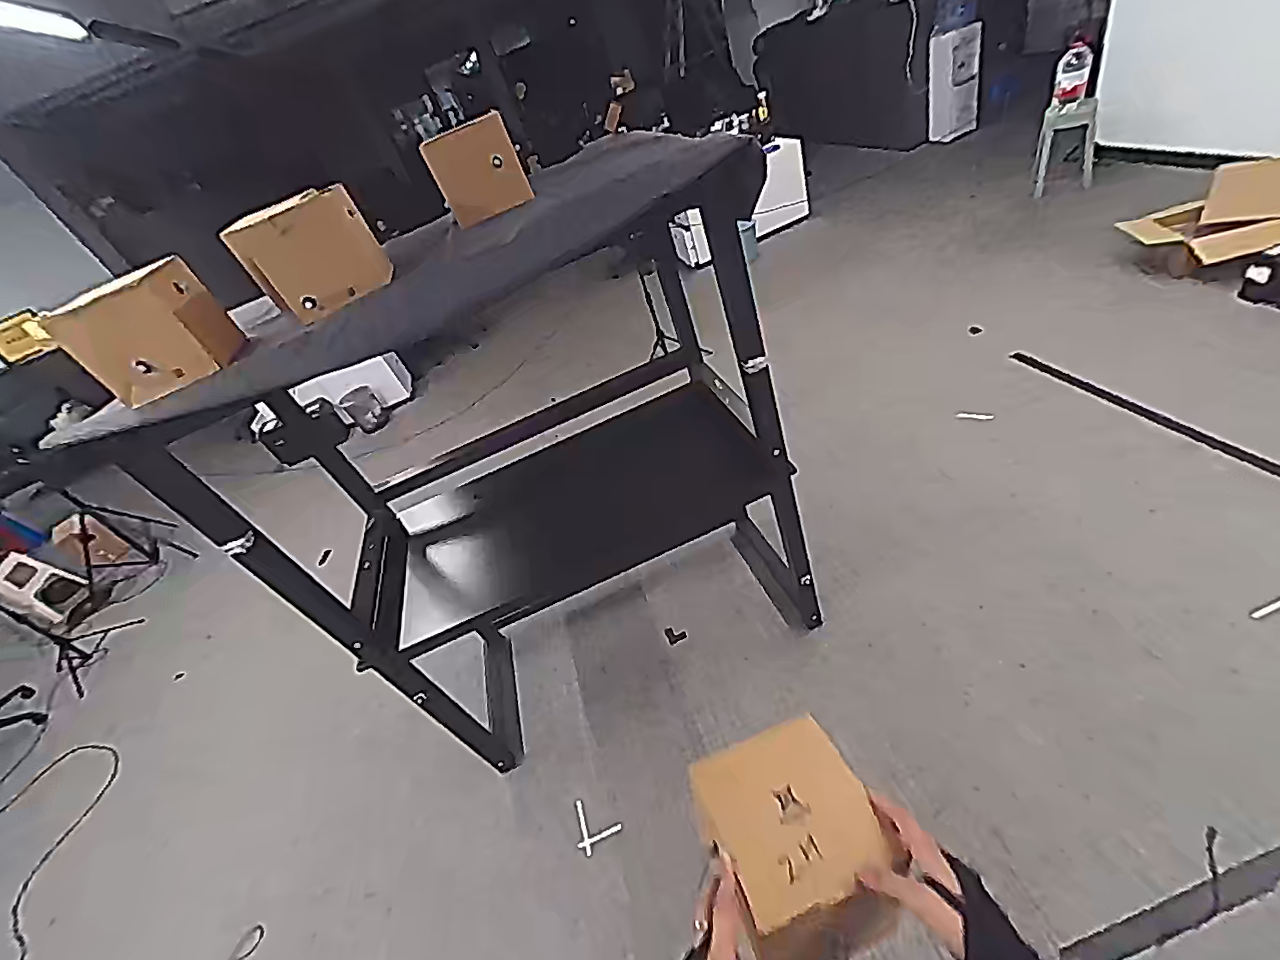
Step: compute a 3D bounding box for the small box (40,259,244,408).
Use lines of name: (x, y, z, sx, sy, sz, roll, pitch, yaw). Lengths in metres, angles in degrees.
small box: (-0.832, -0.252, 0.931, 0.168, 0.176, 0.179, -27, 39, -4)

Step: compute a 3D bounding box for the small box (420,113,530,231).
small box: (-0.349, -0.669, 1.175, 0.179, 0.176, 0.168, -23, 37, 0)
